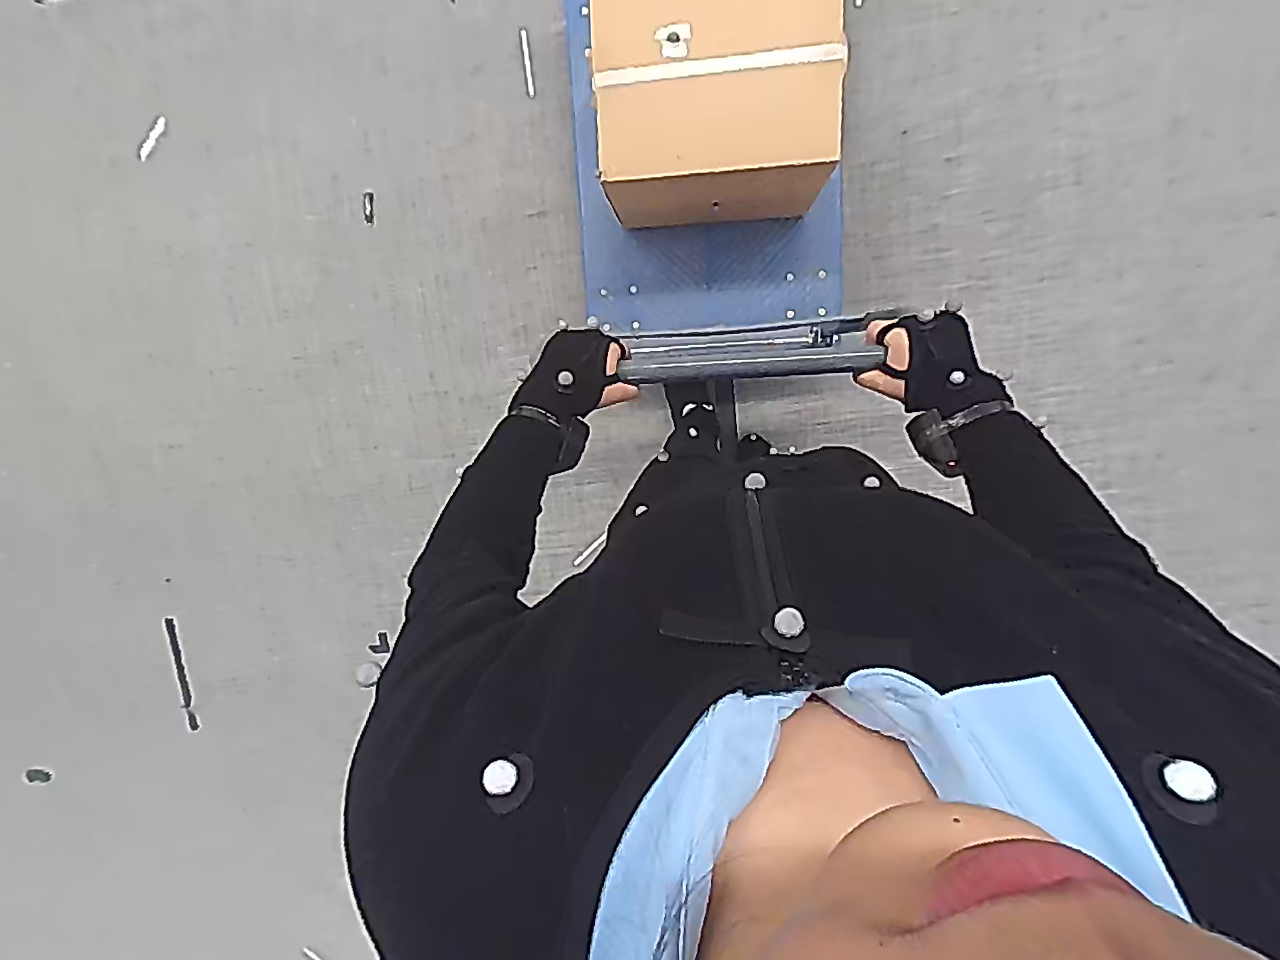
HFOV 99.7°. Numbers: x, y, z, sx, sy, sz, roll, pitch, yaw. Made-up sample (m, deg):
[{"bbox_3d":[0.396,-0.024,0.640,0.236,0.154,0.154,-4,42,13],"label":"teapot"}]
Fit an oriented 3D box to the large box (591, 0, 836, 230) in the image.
[{"bbox_3d":[0.143,-0.704,1.052,0.408,0.320,0.320,-2,99,8],"label":"large box"}]
